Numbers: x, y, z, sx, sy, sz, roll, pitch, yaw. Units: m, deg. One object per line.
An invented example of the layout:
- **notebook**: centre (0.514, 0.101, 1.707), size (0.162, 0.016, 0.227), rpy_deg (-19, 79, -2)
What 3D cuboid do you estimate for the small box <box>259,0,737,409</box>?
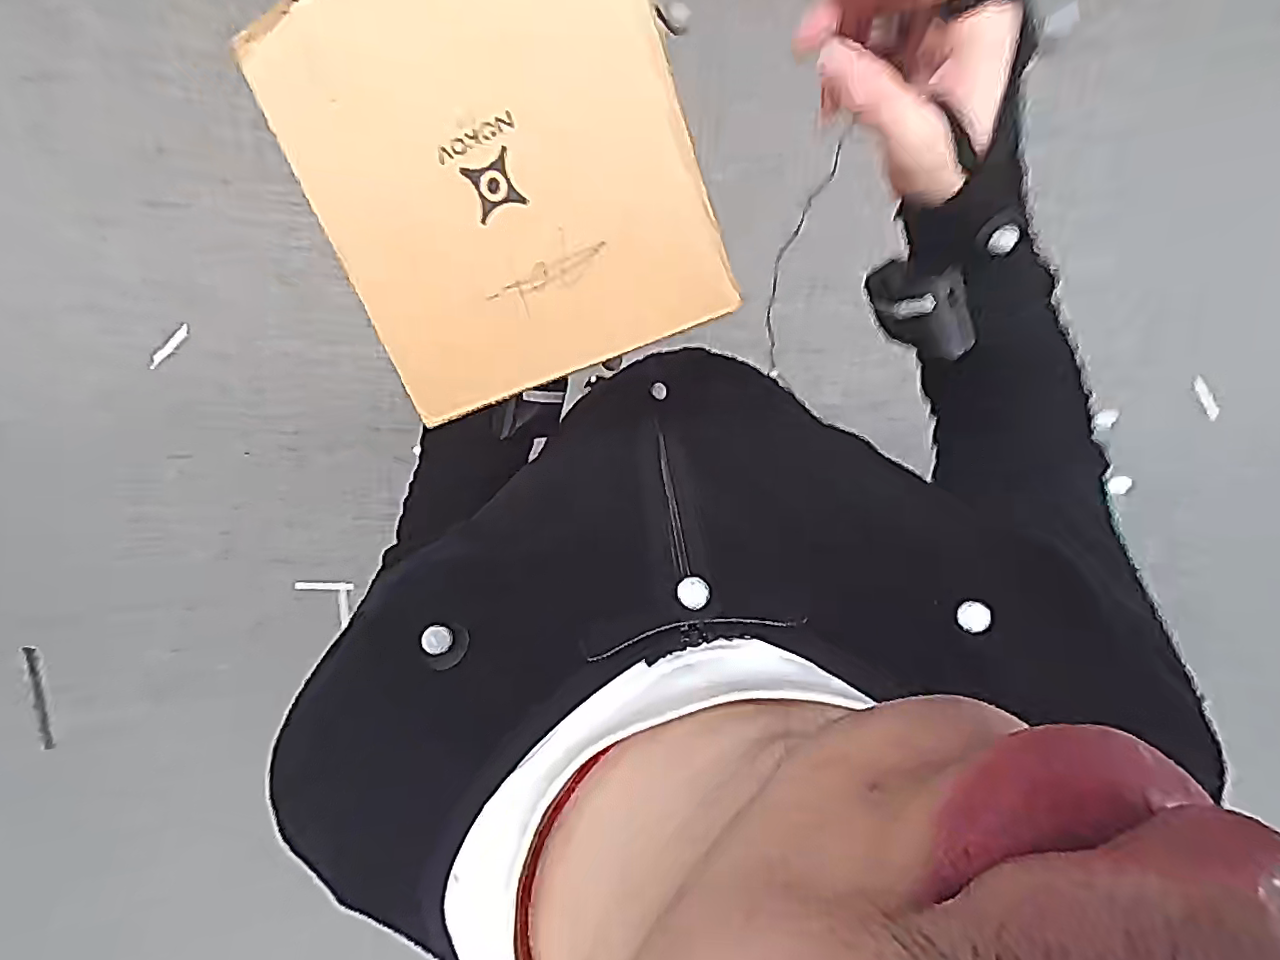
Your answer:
- **small box**: centre (-0.049, -0.163, 0.310), size (0.168, 0.176, 0.179), rpy_deg (-17, 109, 16)
